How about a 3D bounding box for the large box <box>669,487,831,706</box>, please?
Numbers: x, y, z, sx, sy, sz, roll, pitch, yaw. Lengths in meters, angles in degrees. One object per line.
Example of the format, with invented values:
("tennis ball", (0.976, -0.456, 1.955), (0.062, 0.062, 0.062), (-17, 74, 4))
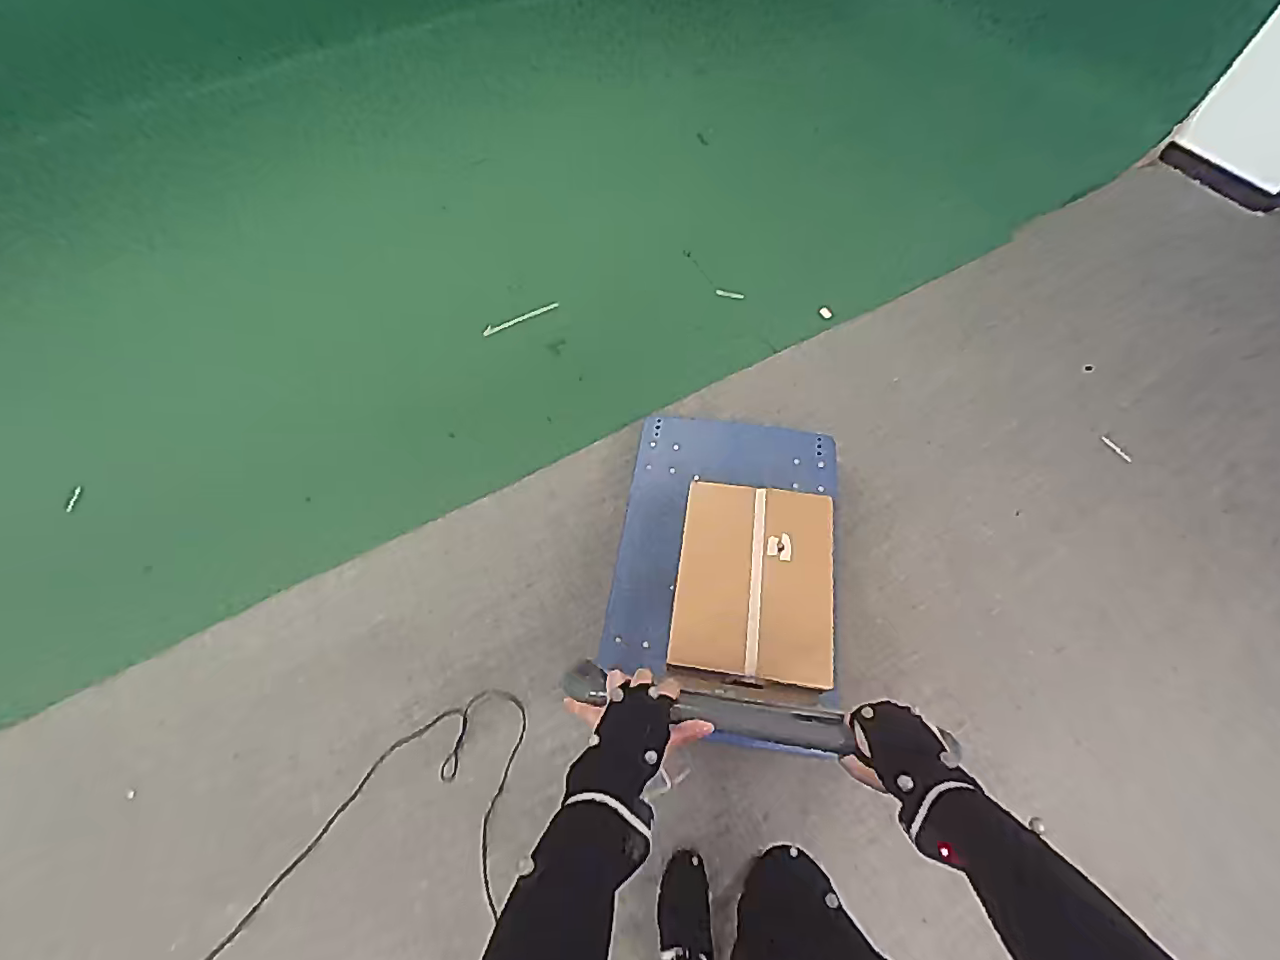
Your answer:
("large box", (0.244, 0.277, 1.255), (0.320, 0.320, 0.408), (7, 61, 6))
